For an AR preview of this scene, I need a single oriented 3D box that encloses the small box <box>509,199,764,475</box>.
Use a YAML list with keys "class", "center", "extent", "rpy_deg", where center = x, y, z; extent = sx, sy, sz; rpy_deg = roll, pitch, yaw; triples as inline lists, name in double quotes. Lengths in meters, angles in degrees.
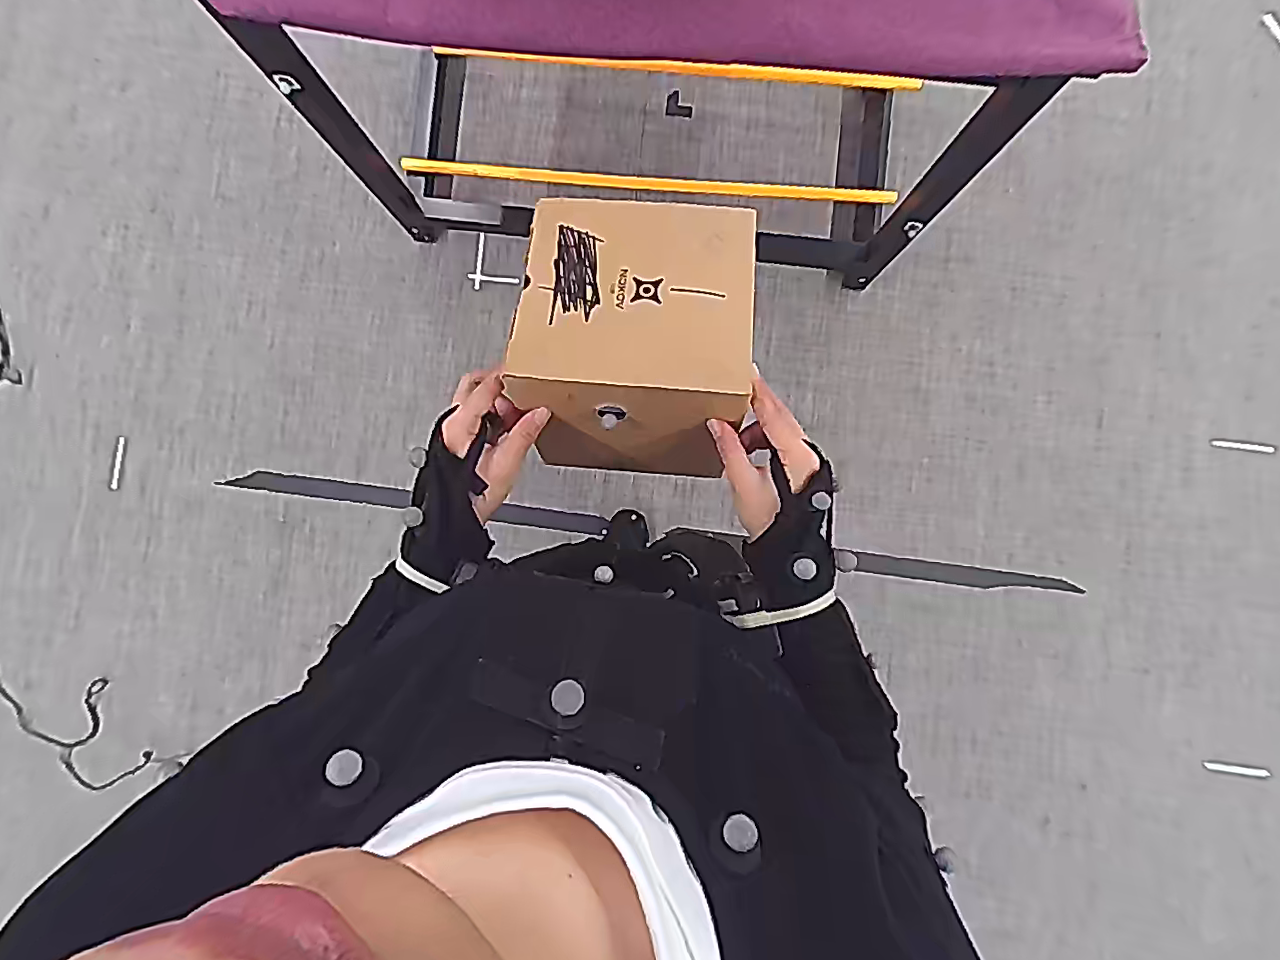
- class: "small box"
  center: [0.004, -0.112, 0.472]
  extent: [0.179, 0.176, 0.168]
  rpy_deg: [5, 70, 2]
